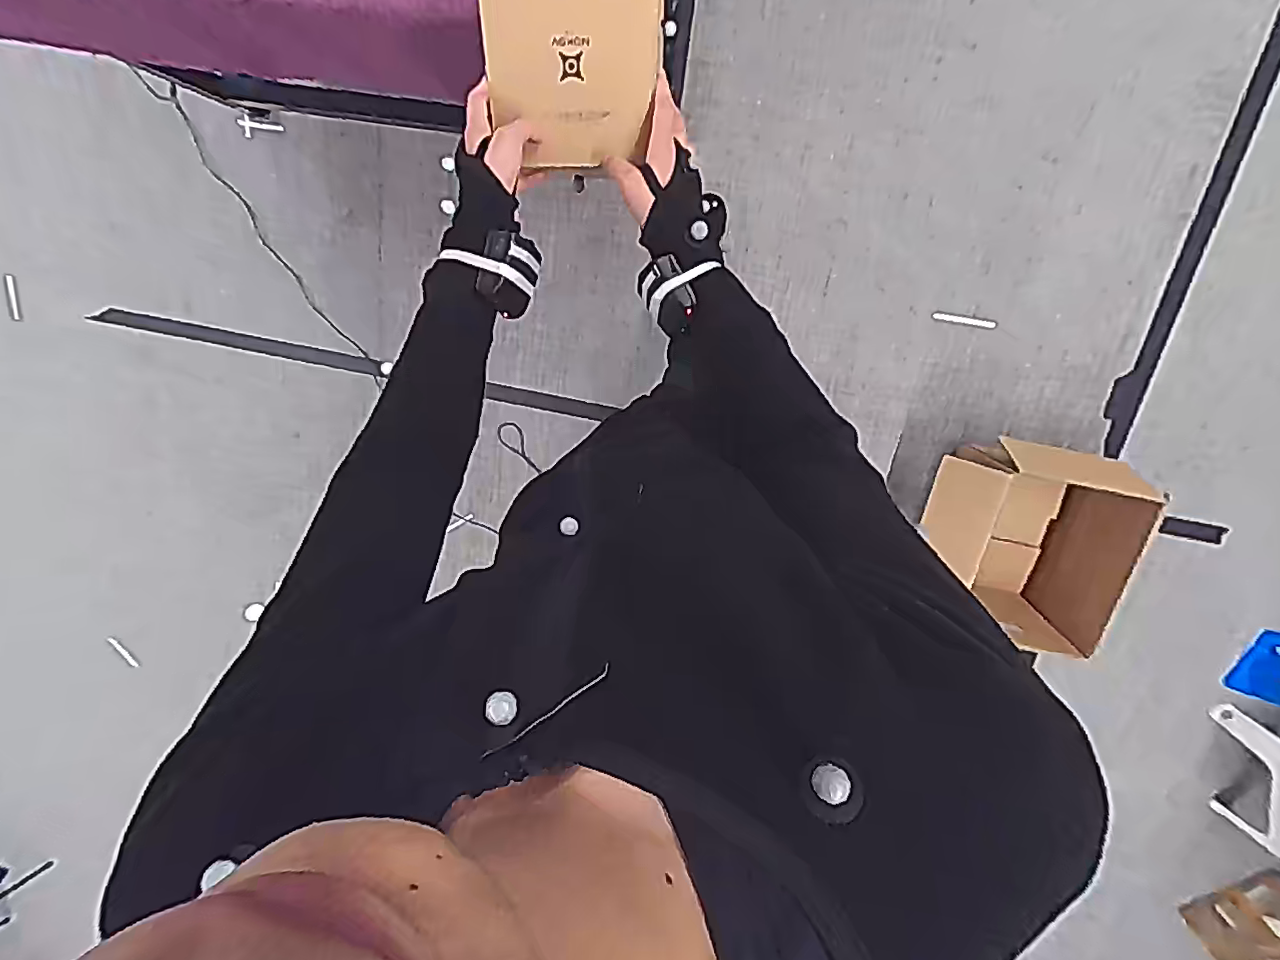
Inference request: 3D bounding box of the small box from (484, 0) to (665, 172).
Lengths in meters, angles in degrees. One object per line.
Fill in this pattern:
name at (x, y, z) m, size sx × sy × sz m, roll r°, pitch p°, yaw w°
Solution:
small box at (-0.059, -0.439, 0.578) m, size 0.168 × 0.176 × 0.179 m, roll 2°, pitch 116°, yaw 3°
